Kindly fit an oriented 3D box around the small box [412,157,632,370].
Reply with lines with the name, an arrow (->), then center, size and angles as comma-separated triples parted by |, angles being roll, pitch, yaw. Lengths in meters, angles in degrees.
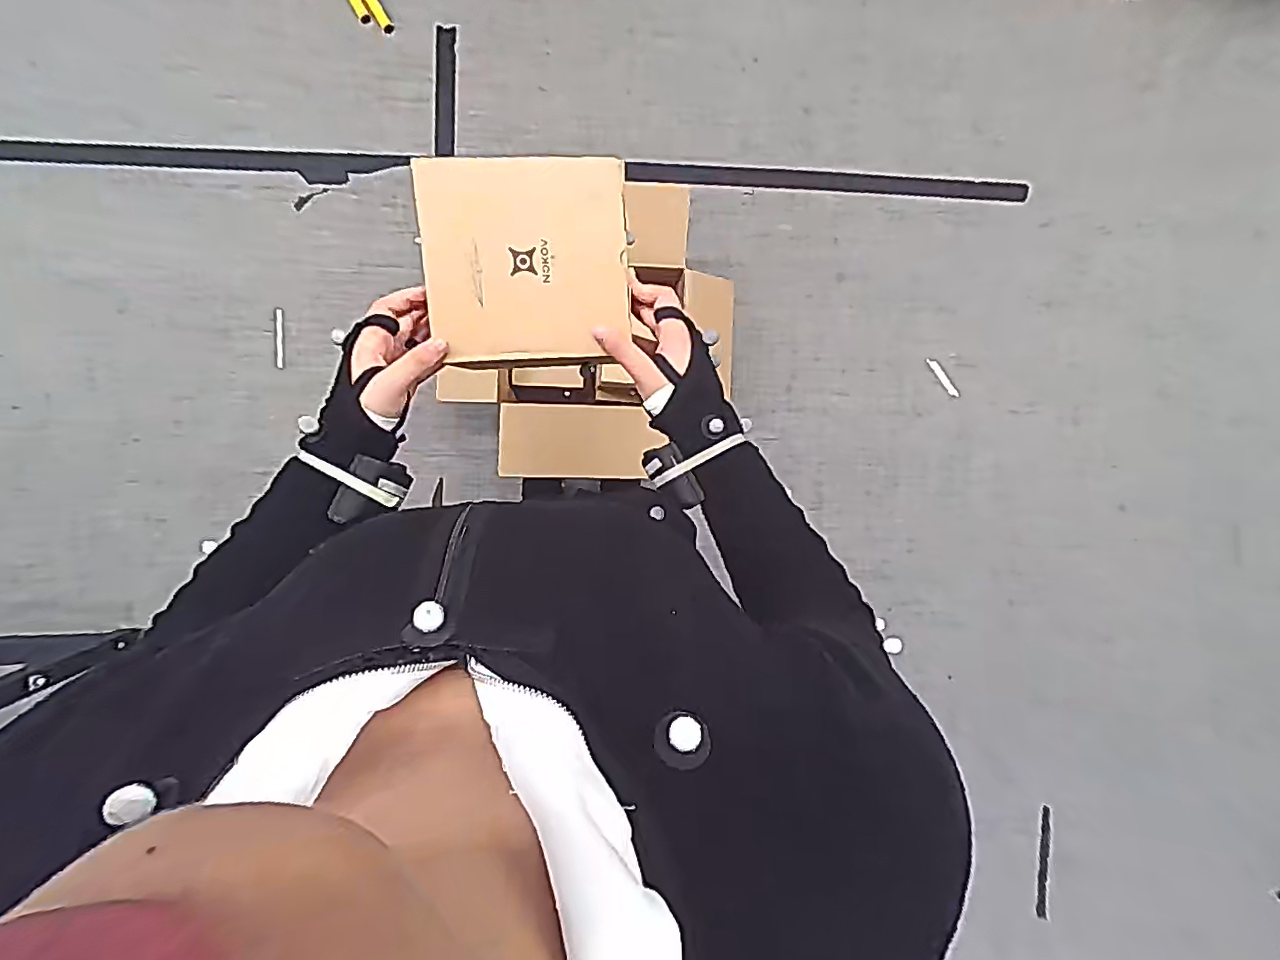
small box -> -0.106, -0.200, 0.539 | 0.179, 0.176, 0.168 | -4, 99, -5
